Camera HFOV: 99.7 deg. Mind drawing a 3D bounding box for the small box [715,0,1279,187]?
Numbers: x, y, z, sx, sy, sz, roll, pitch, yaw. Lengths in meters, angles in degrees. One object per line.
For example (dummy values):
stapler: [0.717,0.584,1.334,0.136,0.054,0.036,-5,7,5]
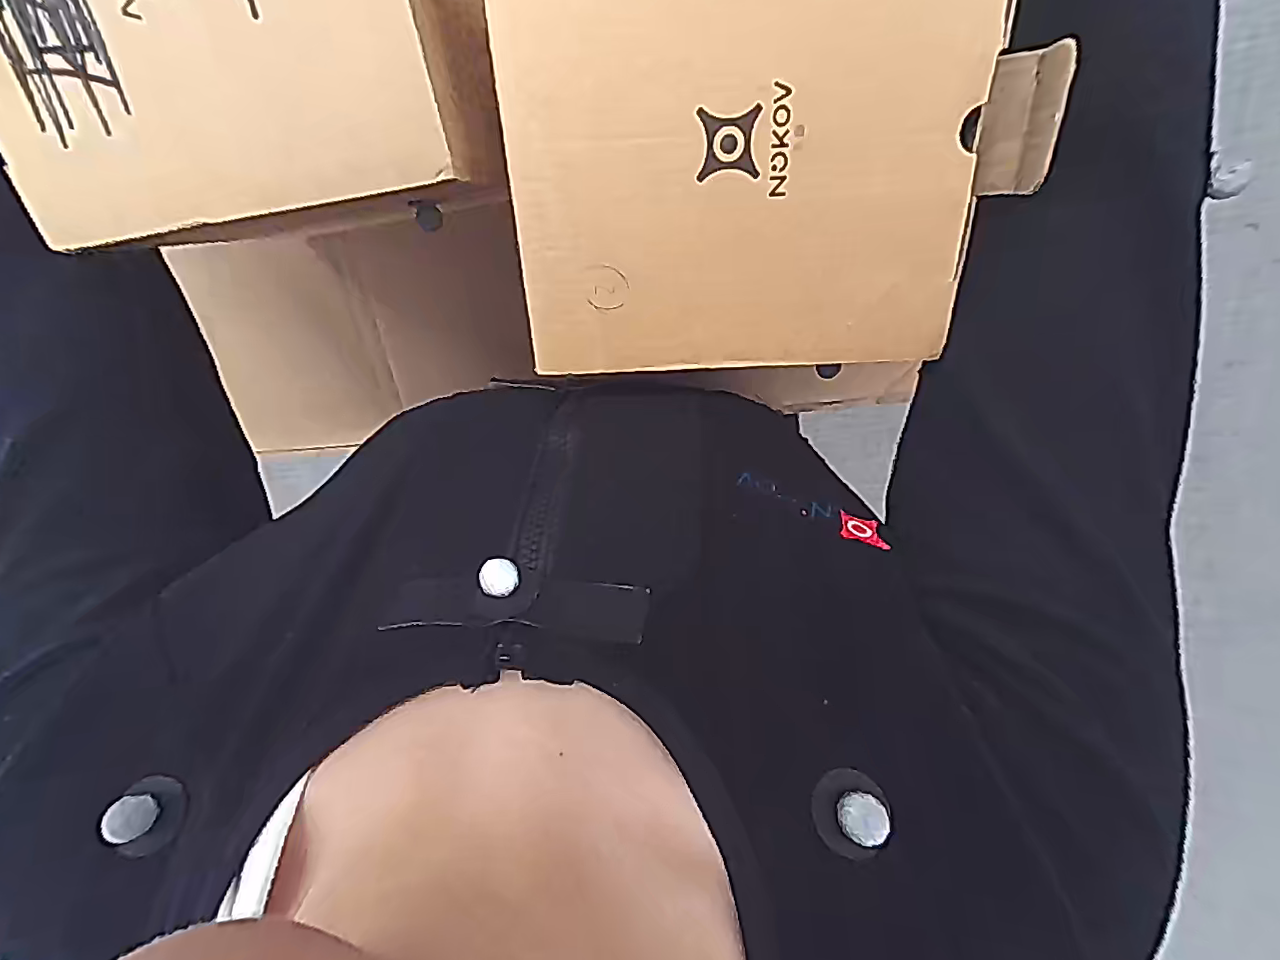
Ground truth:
small box: [0.134,-0.227,0.214,0.179,0.176,0.168,10,123,-3]
